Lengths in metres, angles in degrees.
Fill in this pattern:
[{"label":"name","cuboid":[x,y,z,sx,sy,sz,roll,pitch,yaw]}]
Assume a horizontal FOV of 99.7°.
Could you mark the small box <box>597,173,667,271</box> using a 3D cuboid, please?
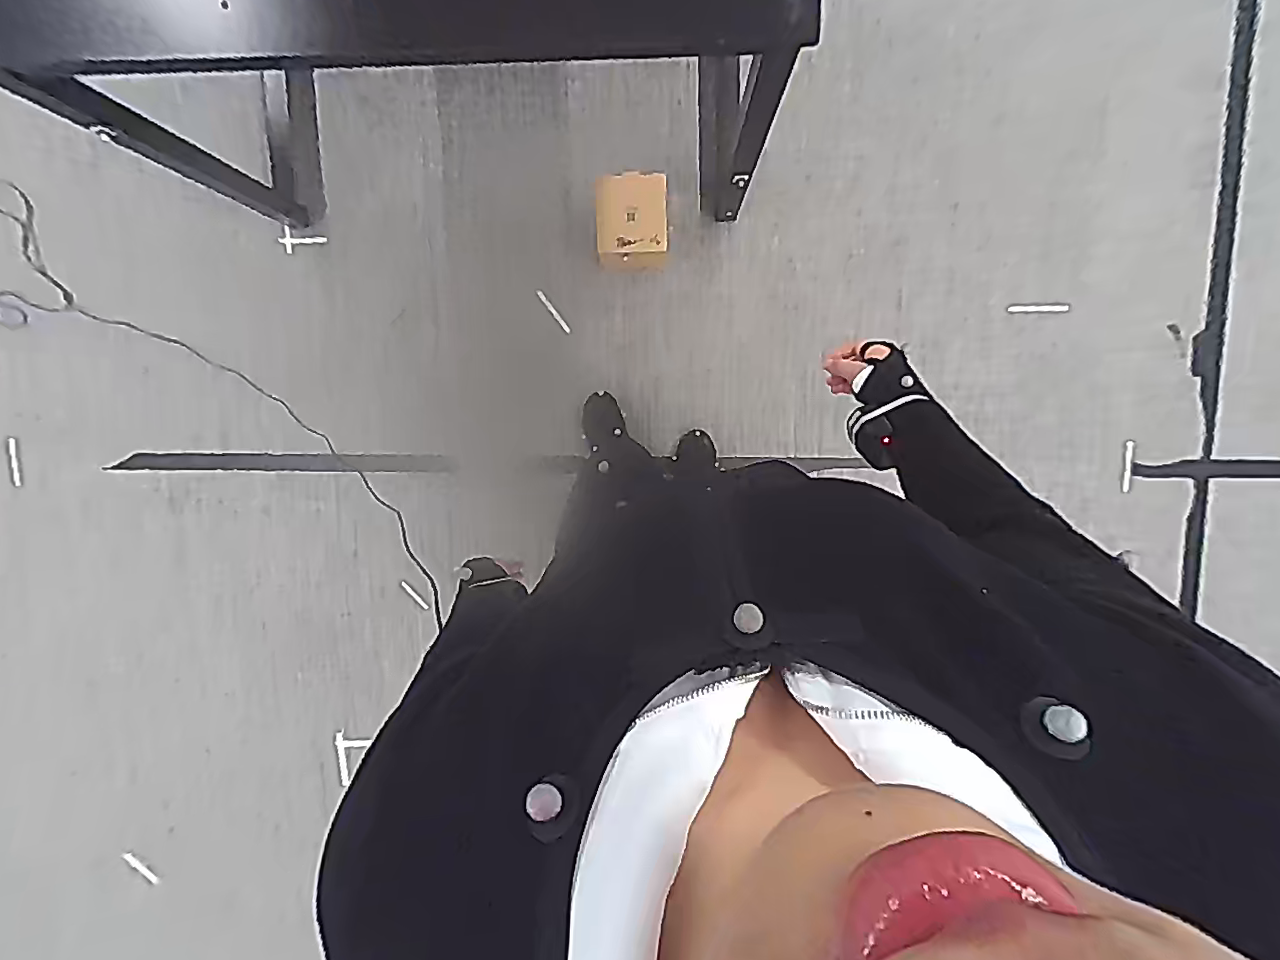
[{"label":"small box","cuboid":[-0.017,-0.633,1.340,0.168,0.176,0.179,-1,97,3]}]
